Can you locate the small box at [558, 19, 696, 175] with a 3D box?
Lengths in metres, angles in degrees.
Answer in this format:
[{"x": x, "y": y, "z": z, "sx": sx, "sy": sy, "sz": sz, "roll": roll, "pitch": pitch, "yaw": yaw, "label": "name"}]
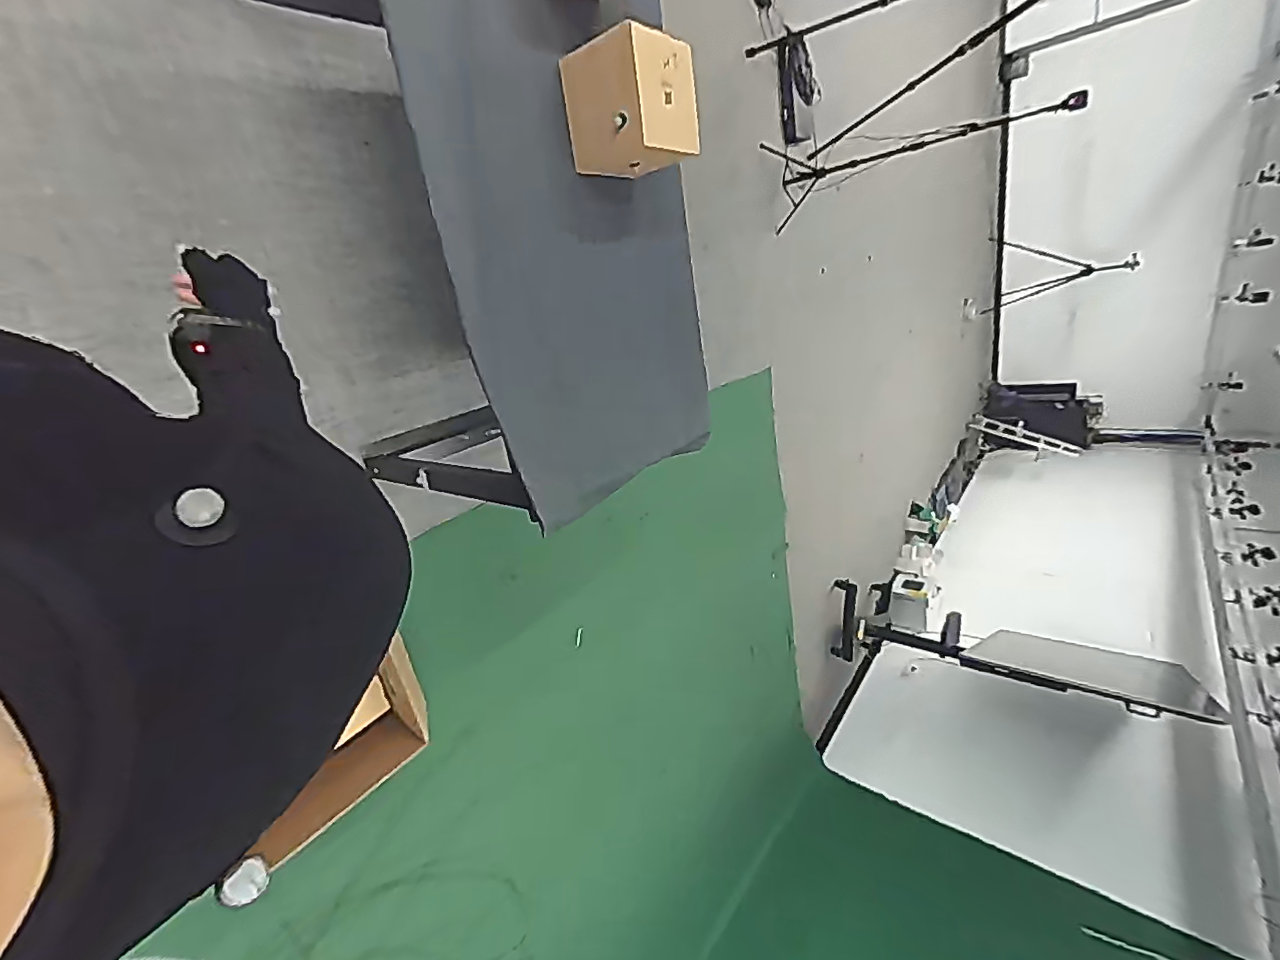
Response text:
[{"x": -0.022, "y": -0.660, "z": 0.961, "sx": 0.168, "sy": 0.176, "sz": 0.179, "roll": -27, "pitch": 116, "yaw": -45, "label": "small box"}]
